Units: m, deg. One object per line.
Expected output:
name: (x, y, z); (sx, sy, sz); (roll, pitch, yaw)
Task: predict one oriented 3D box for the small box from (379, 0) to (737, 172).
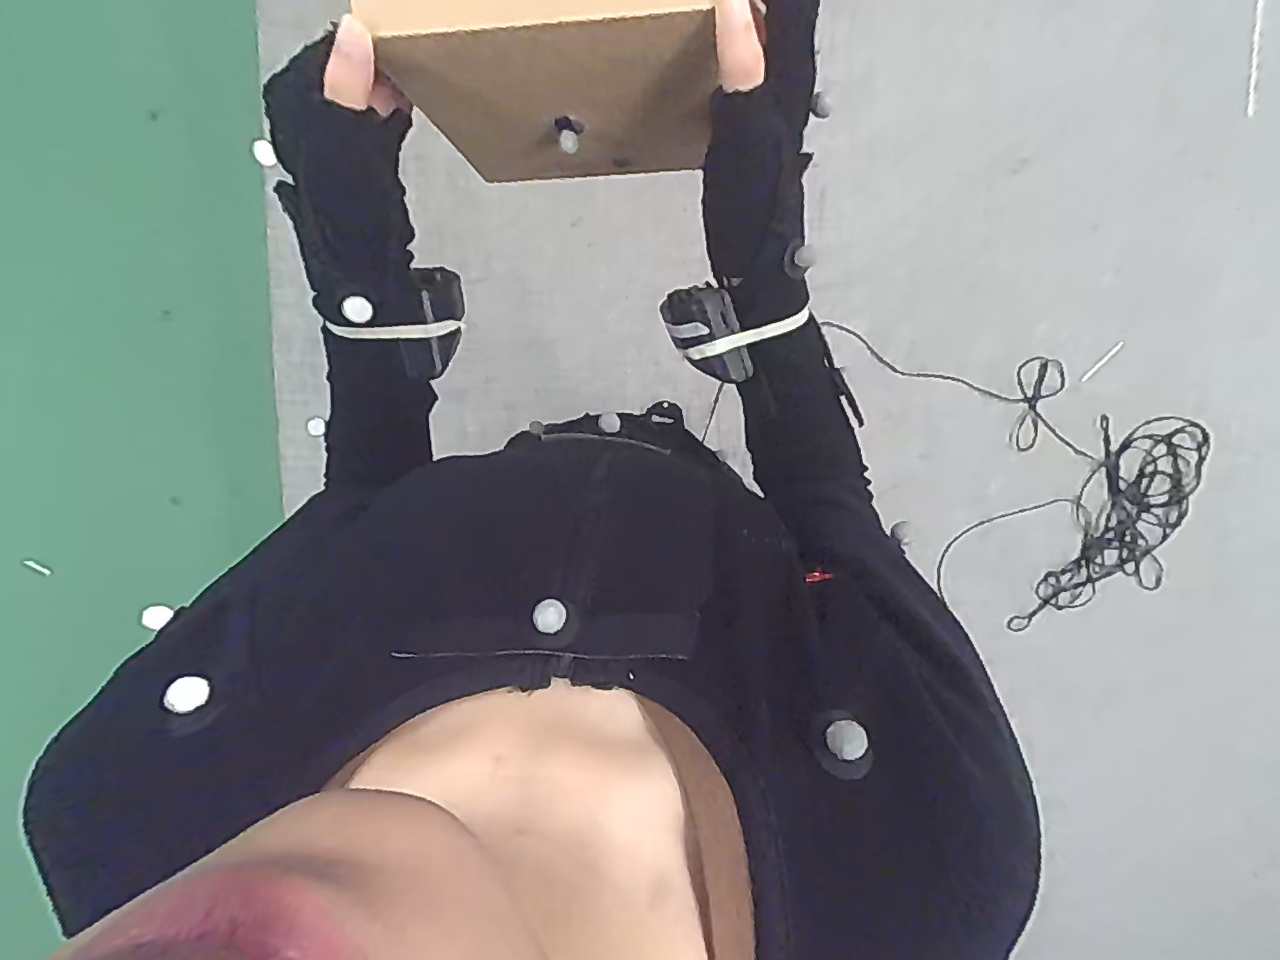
small box: (-0.035, -0.297, 0.308); (0.168, 0.176, 0.179); (-2, 99, 3)
